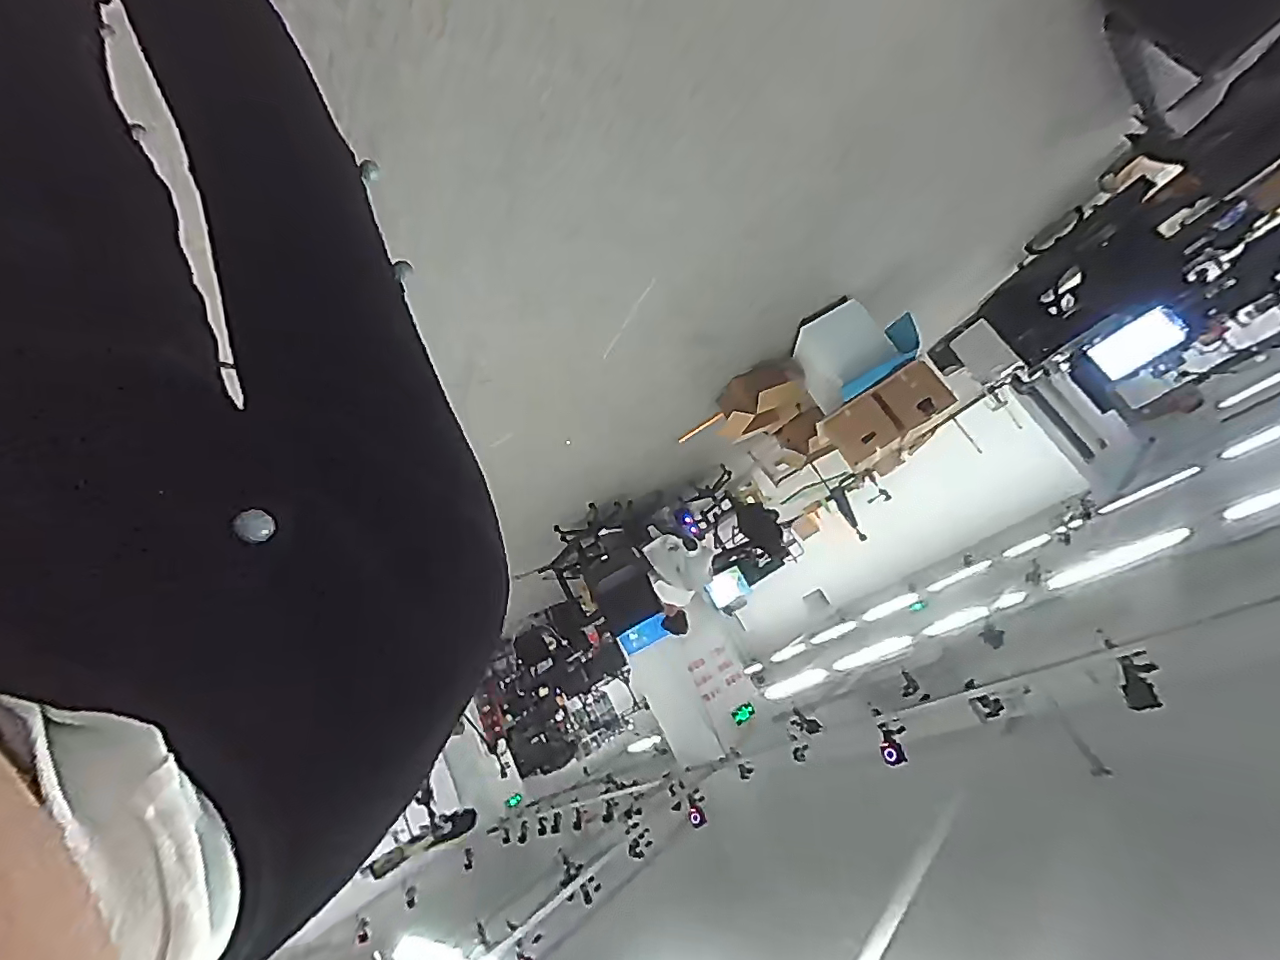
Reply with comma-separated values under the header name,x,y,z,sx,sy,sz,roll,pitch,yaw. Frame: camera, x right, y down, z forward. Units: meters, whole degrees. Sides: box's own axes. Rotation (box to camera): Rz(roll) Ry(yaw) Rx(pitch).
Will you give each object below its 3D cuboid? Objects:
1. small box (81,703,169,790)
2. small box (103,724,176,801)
name,x,y,z,sx,sy,sz,roll,pitch,yaw
small box,-1.552,0.801,1.636,0.168,0.176,0.179,-15,159,-44
small box,-1.708,0.955,1.837,0.168,0.176,0.179,-14,157,-41
